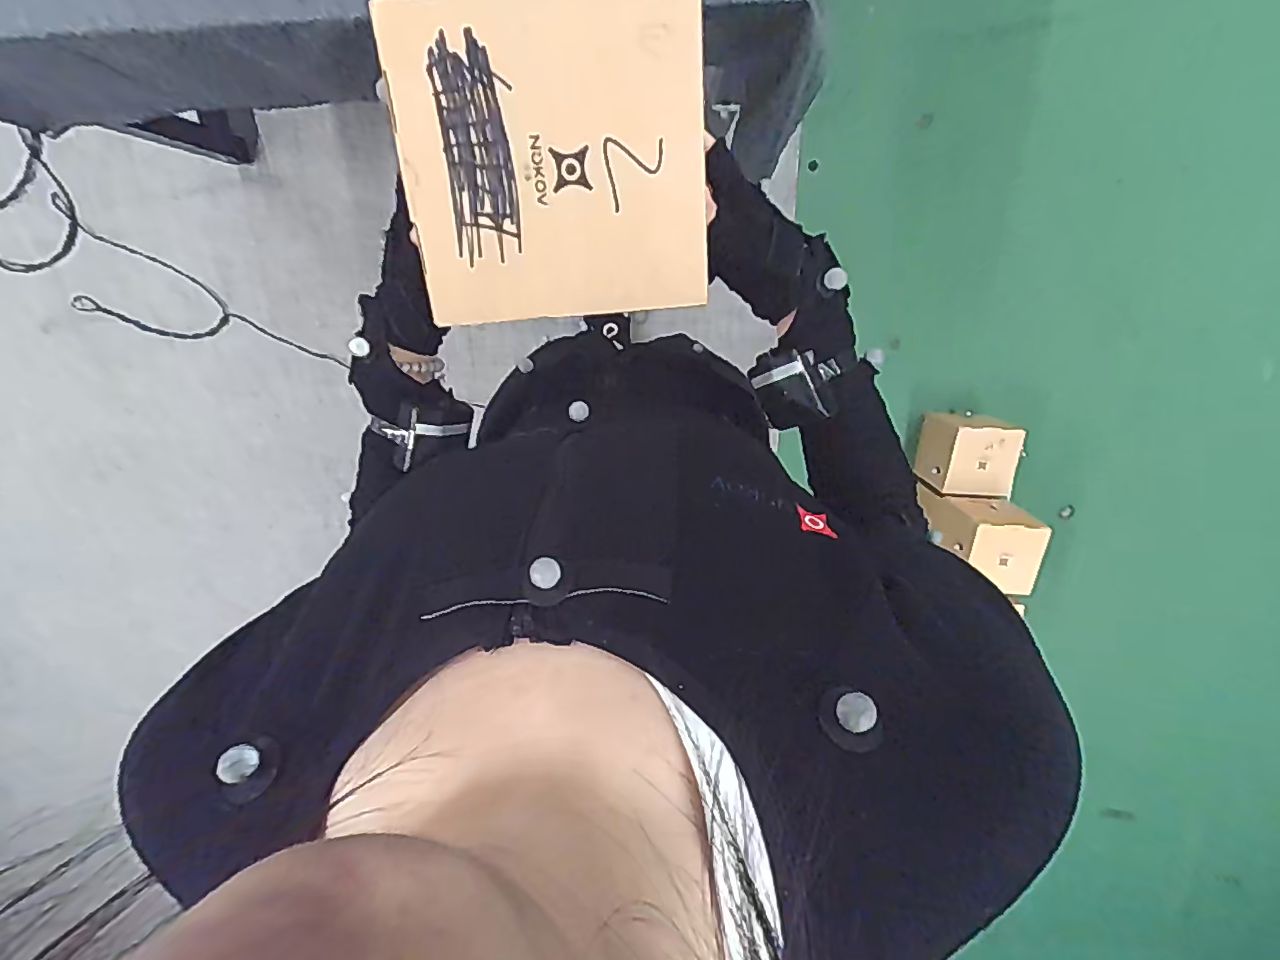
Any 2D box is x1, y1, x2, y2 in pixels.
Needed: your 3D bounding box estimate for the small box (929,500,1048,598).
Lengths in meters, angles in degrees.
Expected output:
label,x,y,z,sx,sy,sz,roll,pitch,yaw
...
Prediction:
label,x,y,z,sx,sy,sz,roll,pitch,yaw
small box,0.835,0.164,1.318,0.168,0.176,0.179,4,108,1
